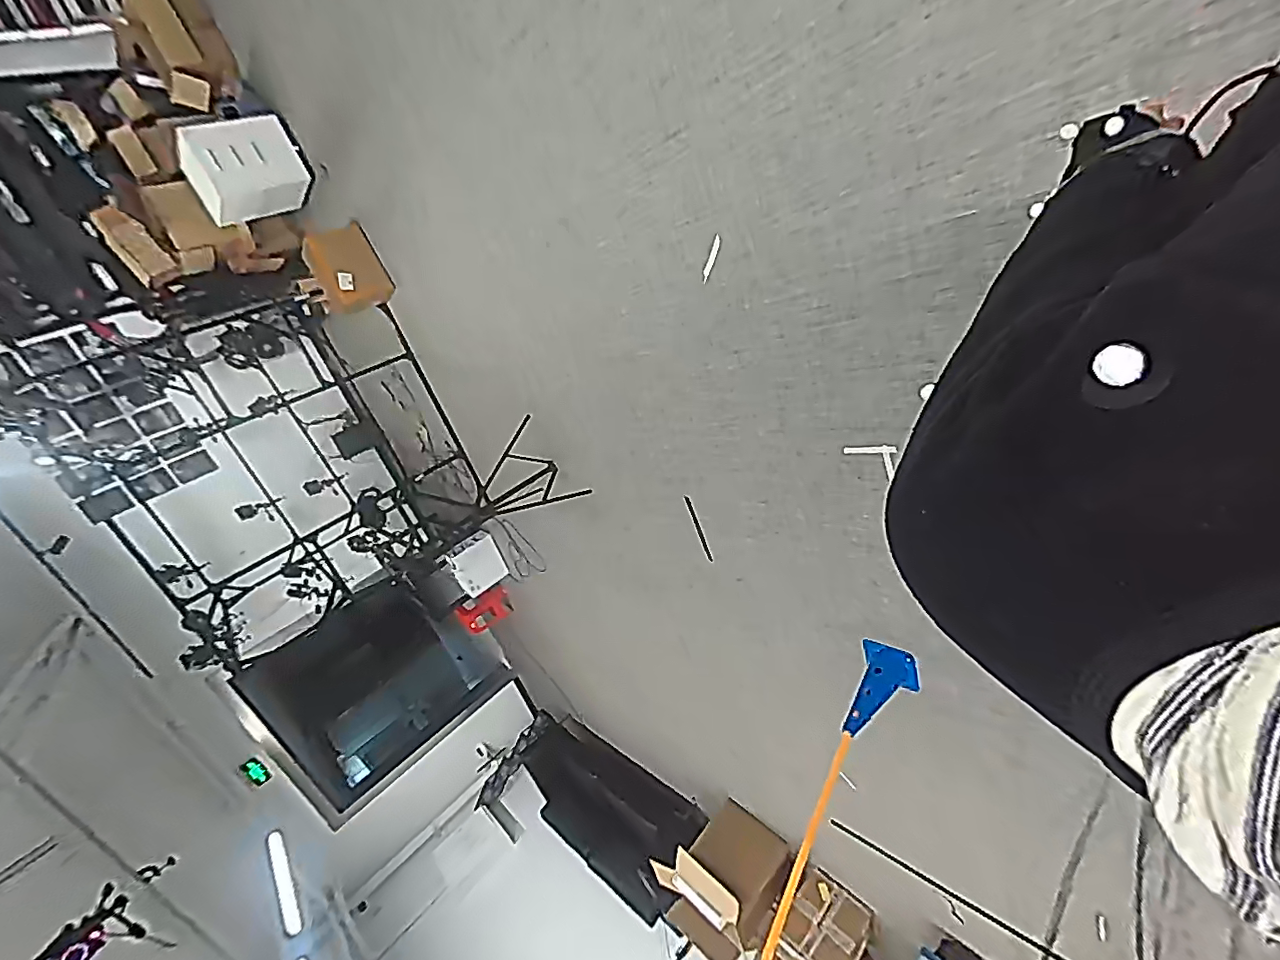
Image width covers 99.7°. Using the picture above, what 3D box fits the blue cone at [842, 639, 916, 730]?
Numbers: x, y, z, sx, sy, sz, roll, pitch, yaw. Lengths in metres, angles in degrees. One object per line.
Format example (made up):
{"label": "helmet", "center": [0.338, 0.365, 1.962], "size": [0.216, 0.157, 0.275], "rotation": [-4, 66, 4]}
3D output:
{"label": "blue cone", "center": [0.861, 0.790, 2.012], "size": [0.193, 0.380, 0.192], "rotation": [10, 127, 48]}
